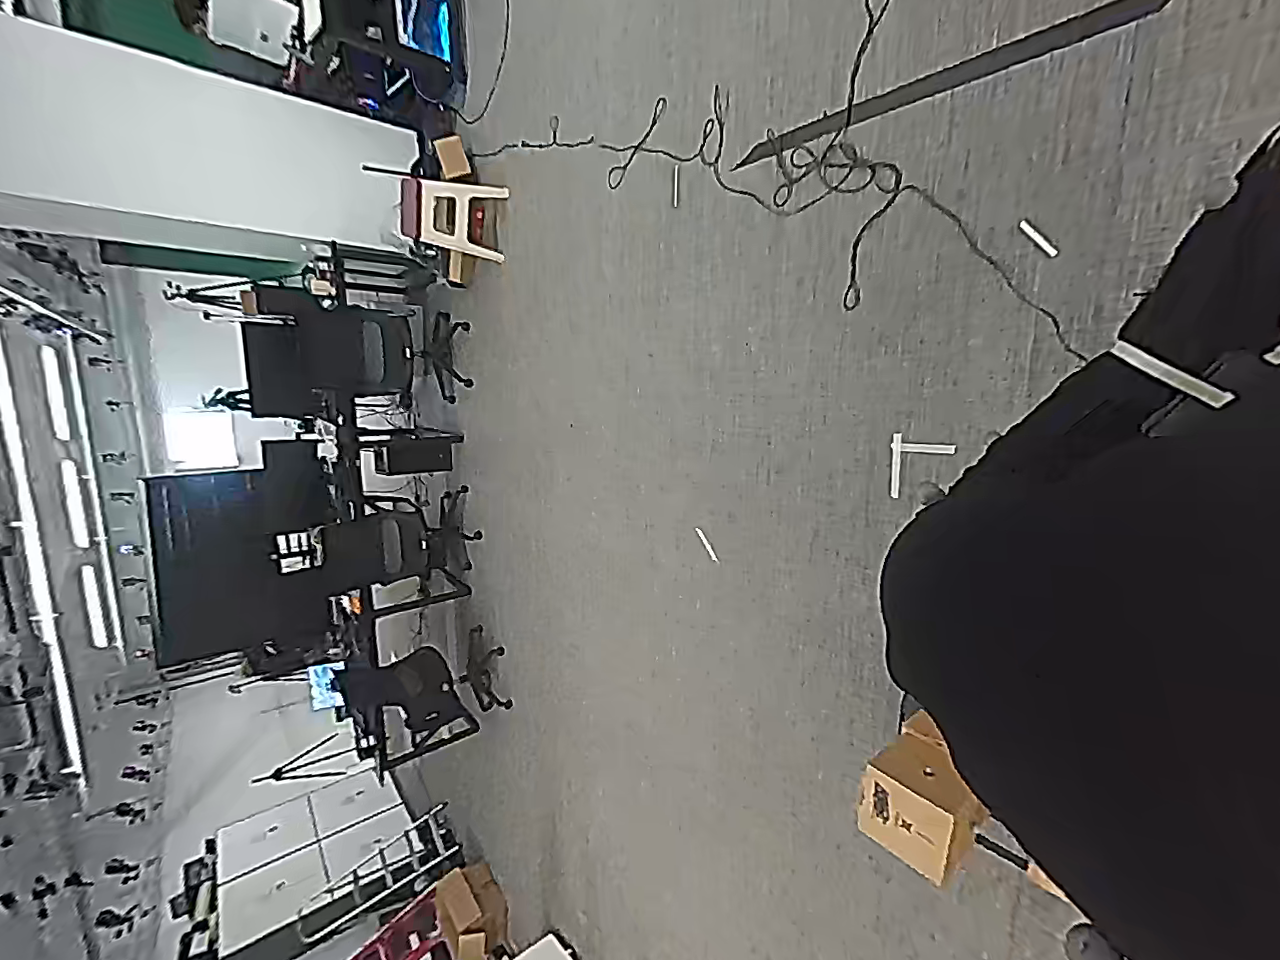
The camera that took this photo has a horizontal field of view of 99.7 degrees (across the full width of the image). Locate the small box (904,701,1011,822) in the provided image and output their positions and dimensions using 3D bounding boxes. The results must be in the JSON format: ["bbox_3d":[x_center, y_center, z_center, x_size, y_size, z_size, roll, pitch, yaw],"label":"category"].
[{"bbox_3d":[0.721,0.642,1.232,0.168,0.176,0.179,9,103,51],"label":"small box"}]

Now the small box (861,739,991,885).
[{"bbox_3d":[0.595,0.675,1.130,0.179,0.176,0.168,17,109,48],"label":"small box"}]
